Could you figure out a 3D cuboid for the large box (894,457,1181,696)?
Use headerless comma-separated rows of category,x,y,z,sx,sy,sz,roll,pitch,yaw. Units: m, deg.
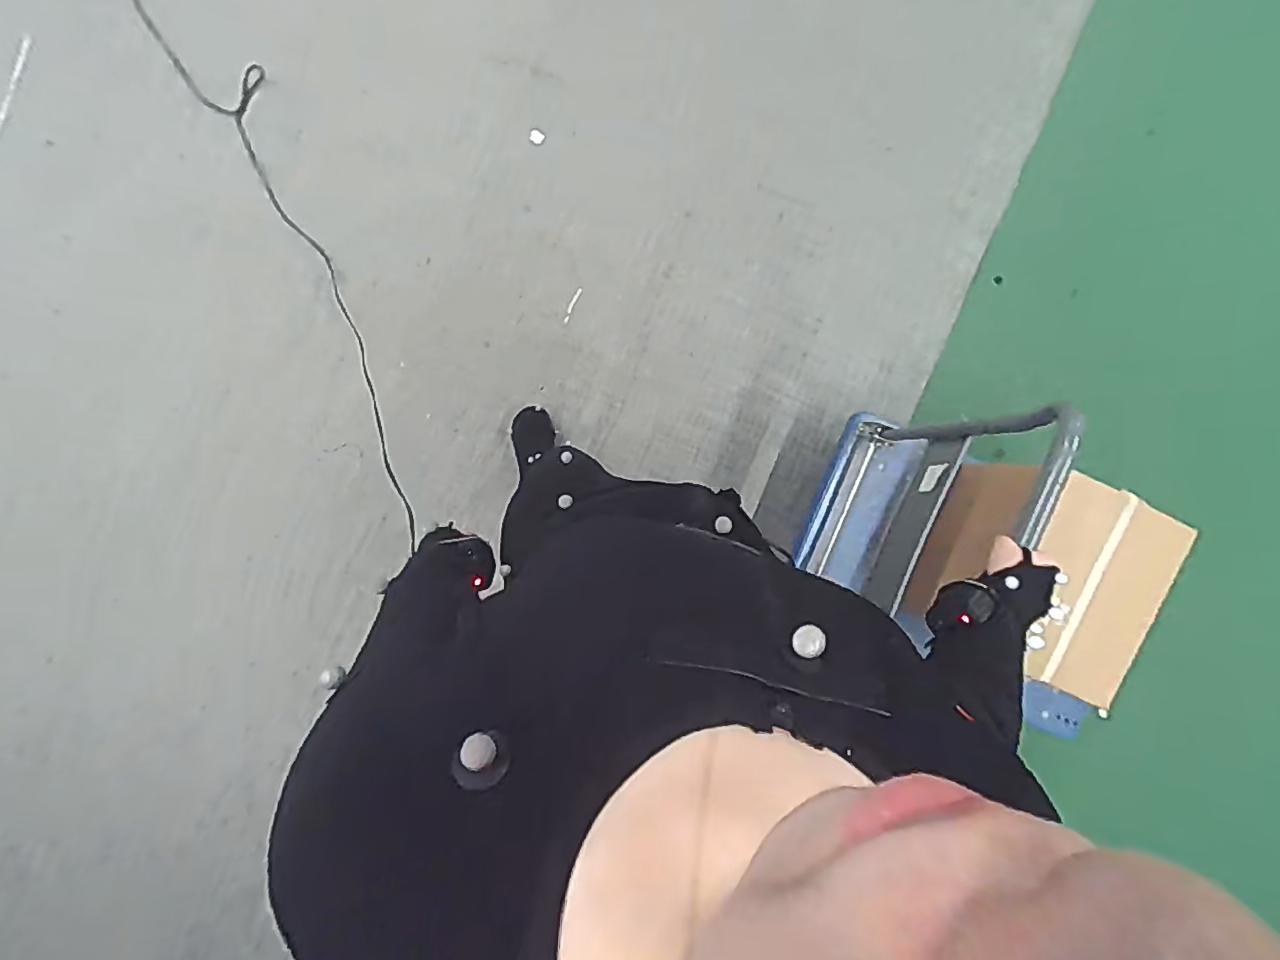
large box,0.862,0.189,1.226,0.320,0.320,0.408,25,92,-3
